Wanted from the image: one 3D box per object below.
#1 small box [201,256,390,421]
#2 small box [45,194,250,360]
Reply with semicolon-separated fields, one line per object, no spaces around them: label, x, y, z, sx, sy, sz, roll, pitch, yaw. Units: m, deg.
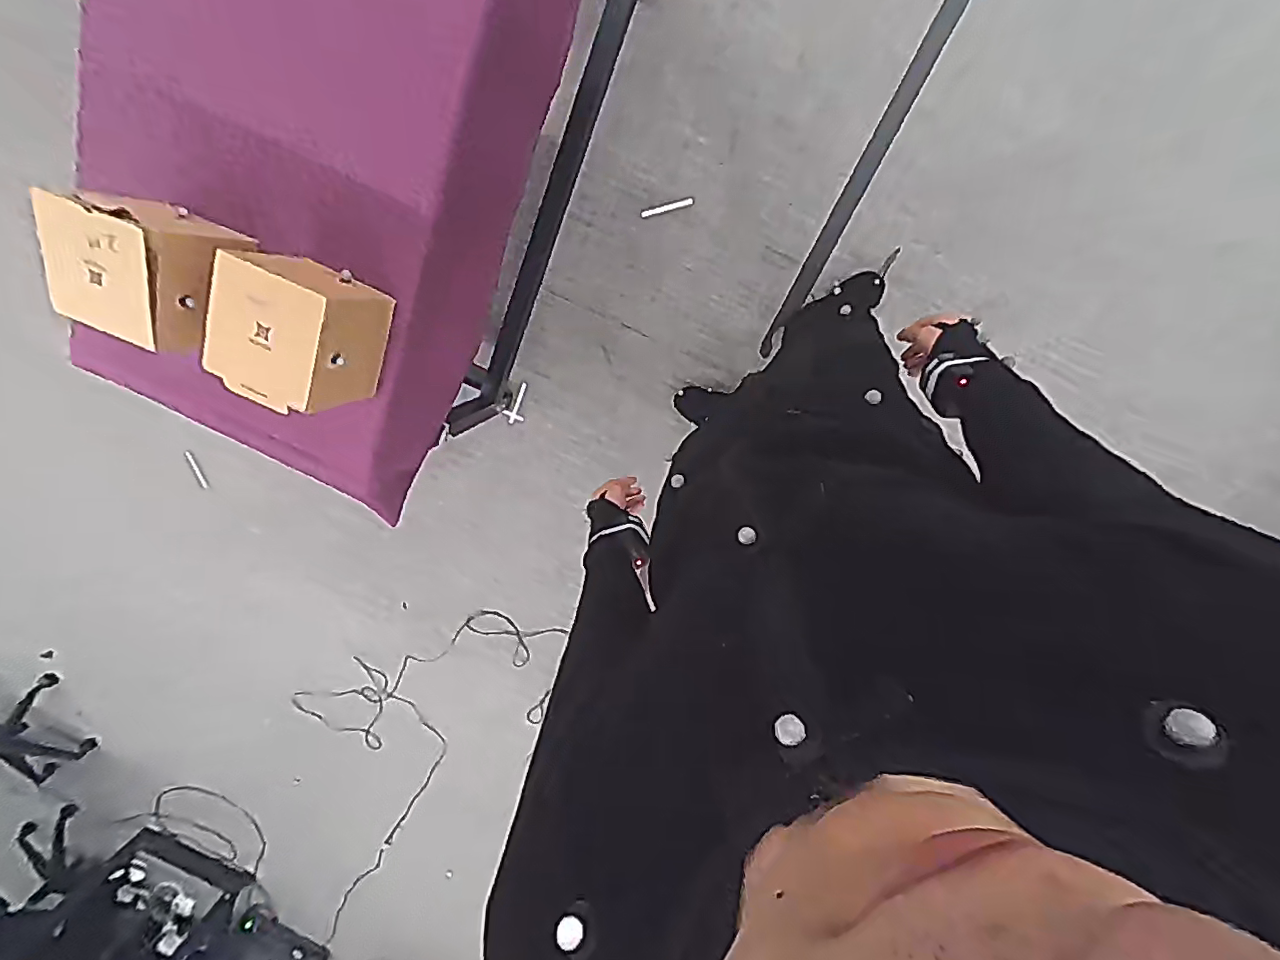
small box;-0.511;-0.215;0.820;0.168;0.176;0.179;24;110;0
small box;-0.736;-0.302;0.825;0.168;0.176;0.179;22;110;1
